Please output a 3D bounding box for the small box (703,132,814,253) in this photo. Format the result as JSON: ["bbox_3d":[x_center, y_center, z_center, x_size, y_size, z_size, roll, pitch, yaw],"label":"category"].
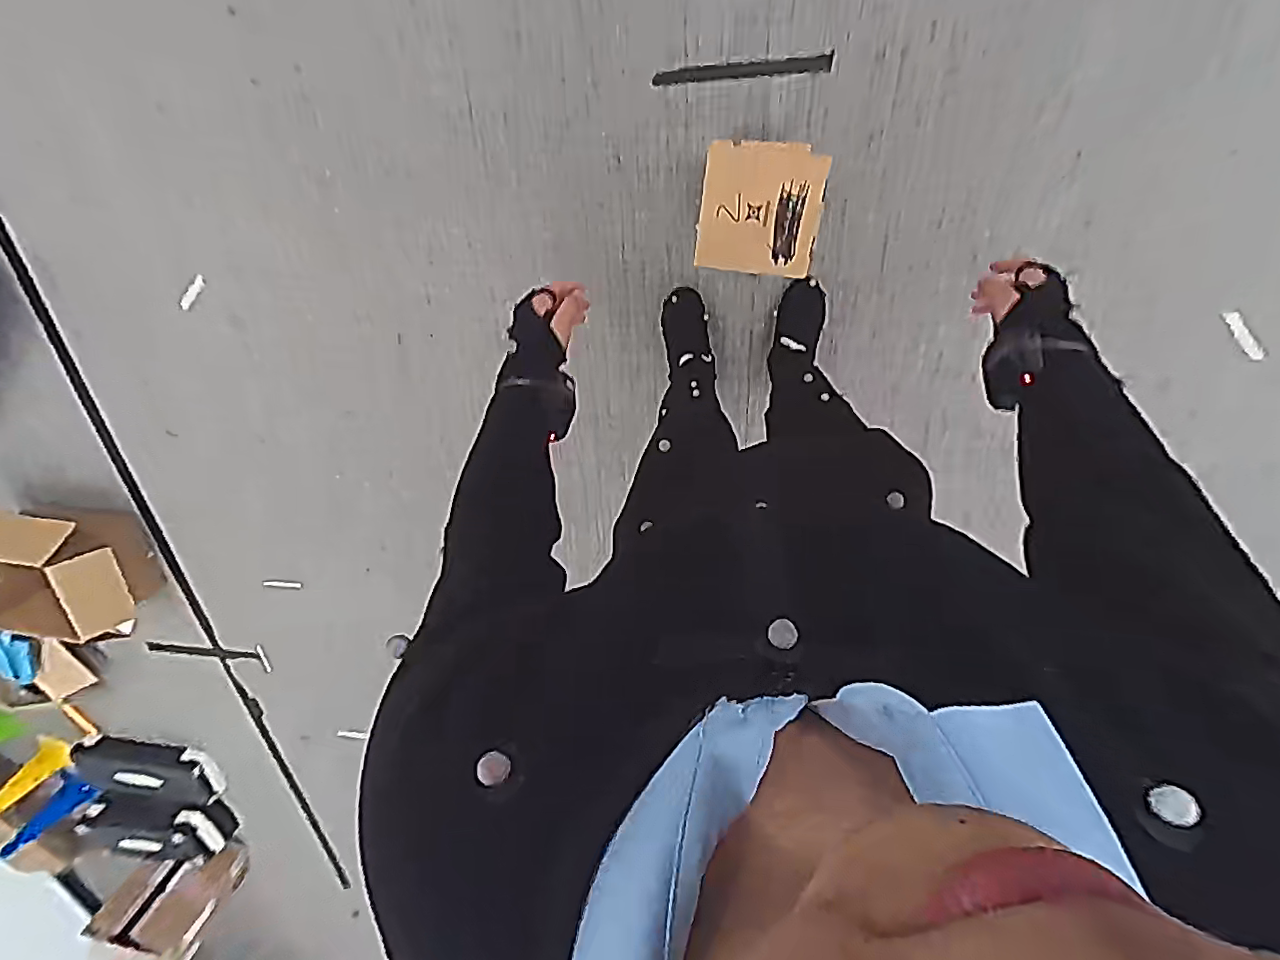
[{"bbox_3d":[0.208,-0.523,0.990,0.168,0.176,0.179,6,119,6],"label":"small box"}]
